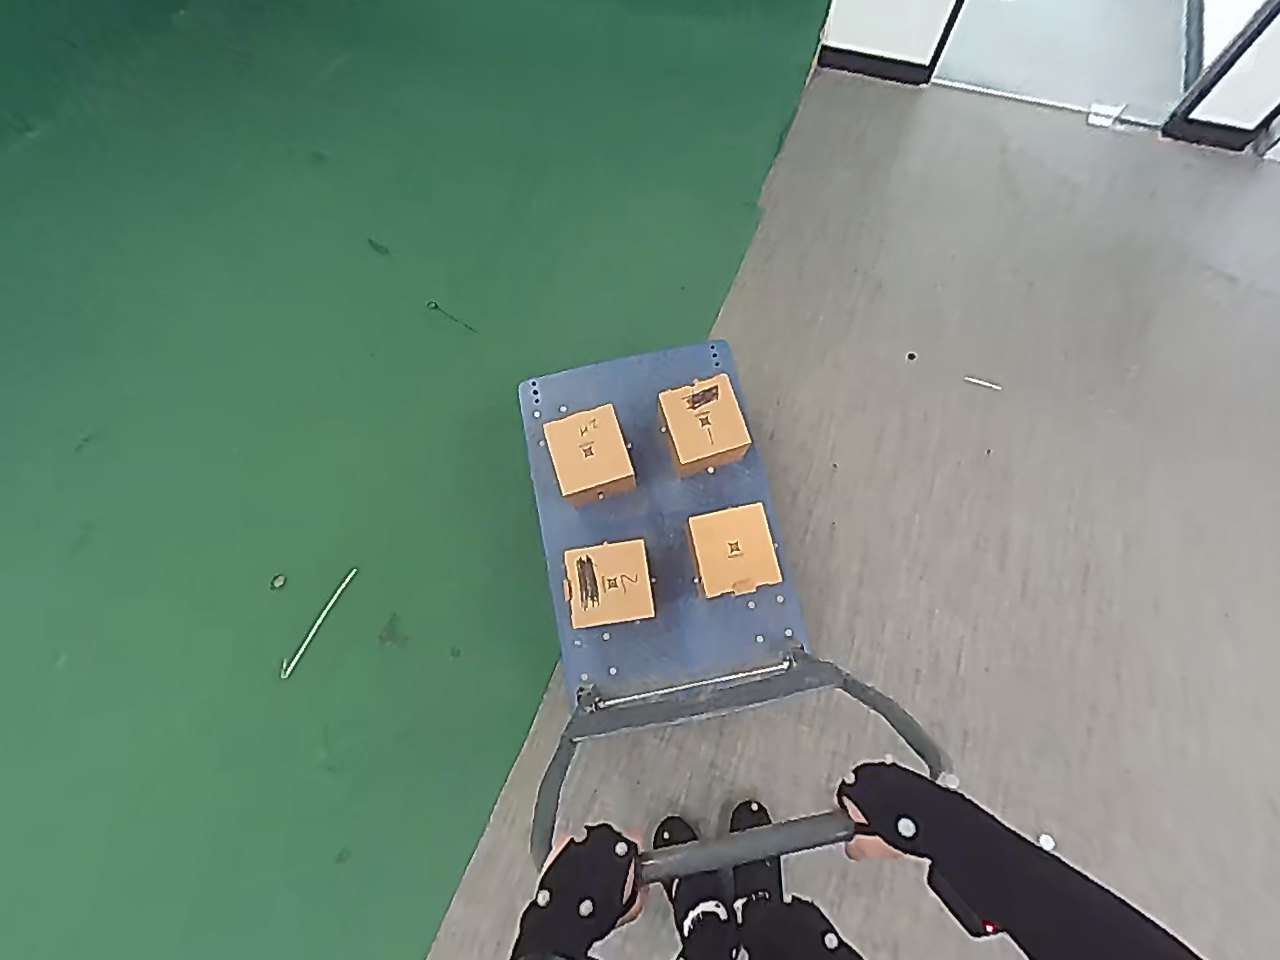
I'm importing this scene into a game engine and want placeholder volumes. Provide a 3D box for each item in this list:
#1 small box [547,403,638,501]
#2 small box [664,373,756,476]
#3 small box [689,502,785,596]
[{"bbox_3d":[-0.105,-0.057,1.273,0.168,0.176,0.179,-16,79,-3],"label":"small box"},{"bbox_3d":[0.156,-0.125,1.280,0.168,0.176,0.179,-17,79,-1],"label":"small box"},{"bbox_3d":[0.210,0.161,1.222,0.168,0.176,0.179,-12,79,-1],"label":"small box"}]
